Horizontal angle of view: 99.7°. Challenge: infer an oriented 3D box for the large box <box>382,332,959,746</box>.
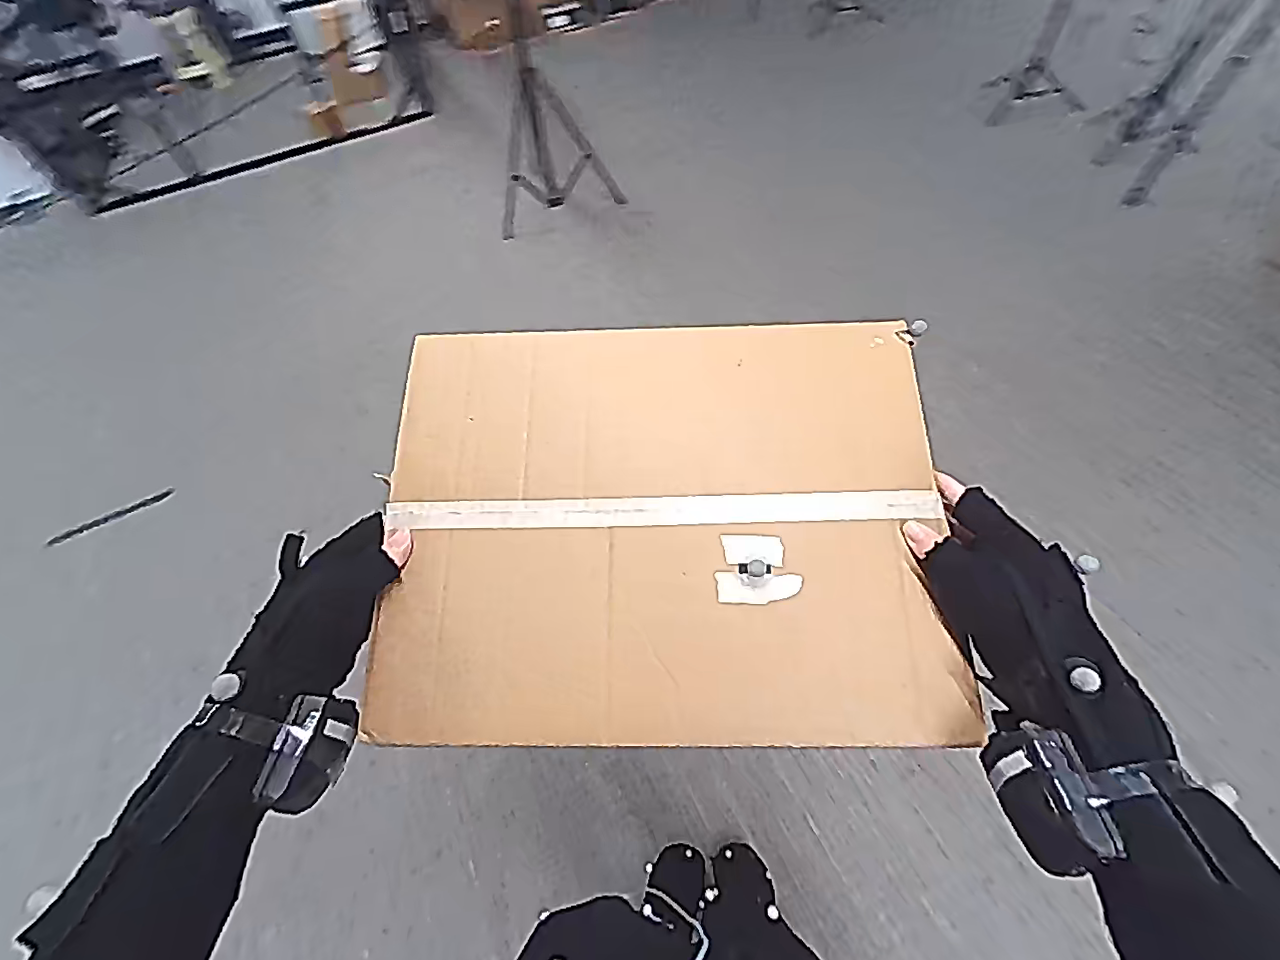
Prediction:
[{"bbox_3d":[0.017,0.076,0.555,0.408,0.320,0.320,-2,72,2],"label":"large box"}]
